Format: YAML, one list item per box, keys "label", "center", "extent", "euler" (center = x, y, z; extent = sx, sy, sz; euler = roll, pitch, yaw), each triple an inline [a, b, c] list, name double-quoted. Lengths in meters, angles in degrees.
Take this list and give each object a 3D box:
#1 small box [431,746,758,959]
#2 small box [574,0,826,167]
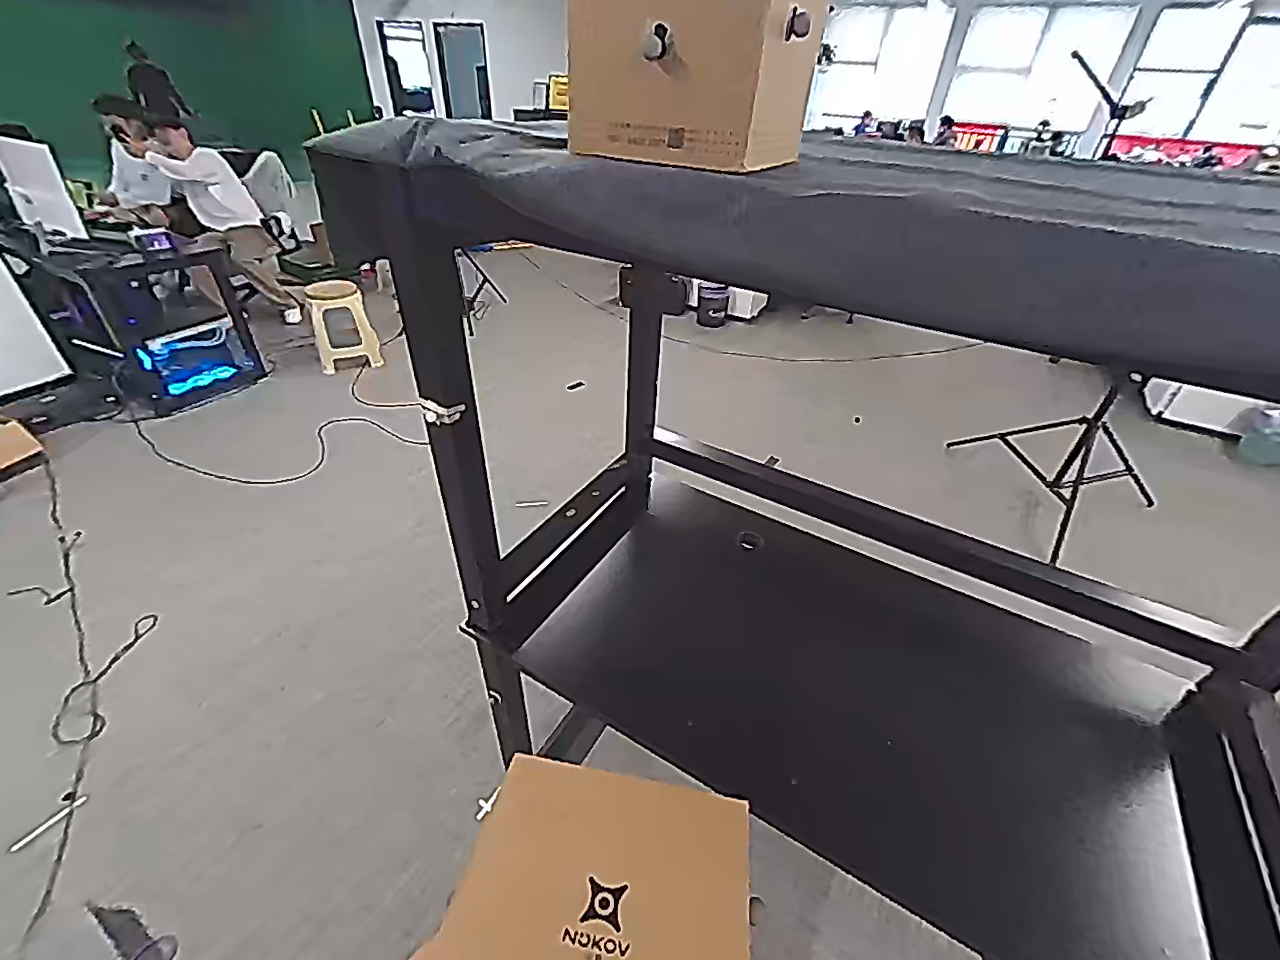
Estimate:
- label: "small box"
  center: [-0.024, 0.307, 0.330]
  extent: [0.168, 0.176, 0.179]
  euler: [8, 27, 7]
- label: "small box"
  center: [0.055, -0.374, 0.462]
  extent: [0.168, 0.176, 0.179]
  euler: [19, 39, 19]
